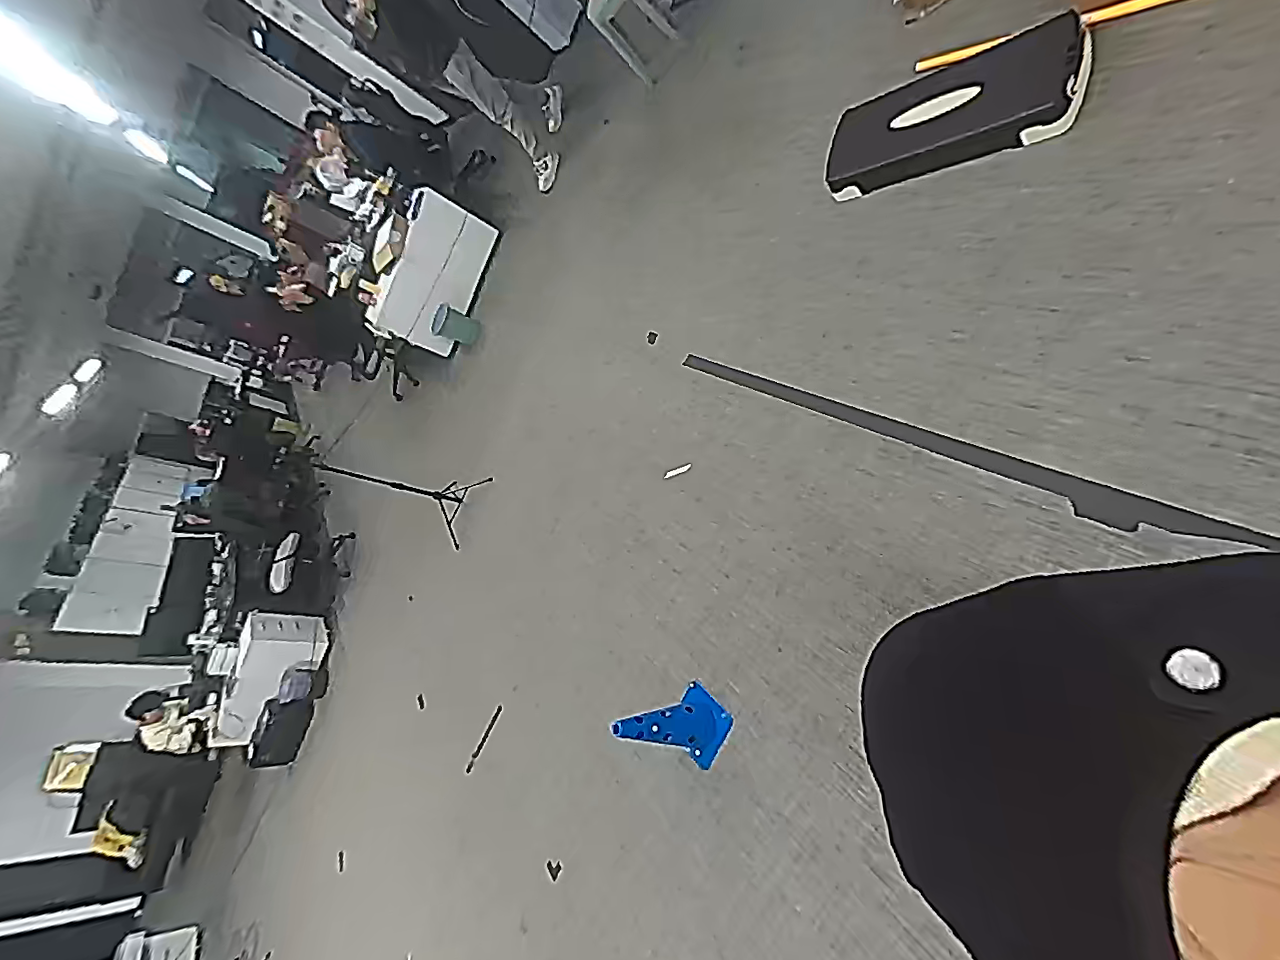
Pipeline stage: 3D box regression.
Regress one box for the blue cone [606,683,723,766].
[{"bbox_3d":[0.056,0.736,1.616,0.192,0.380,0.193,37,104,49],"label":"blue cone"}]
